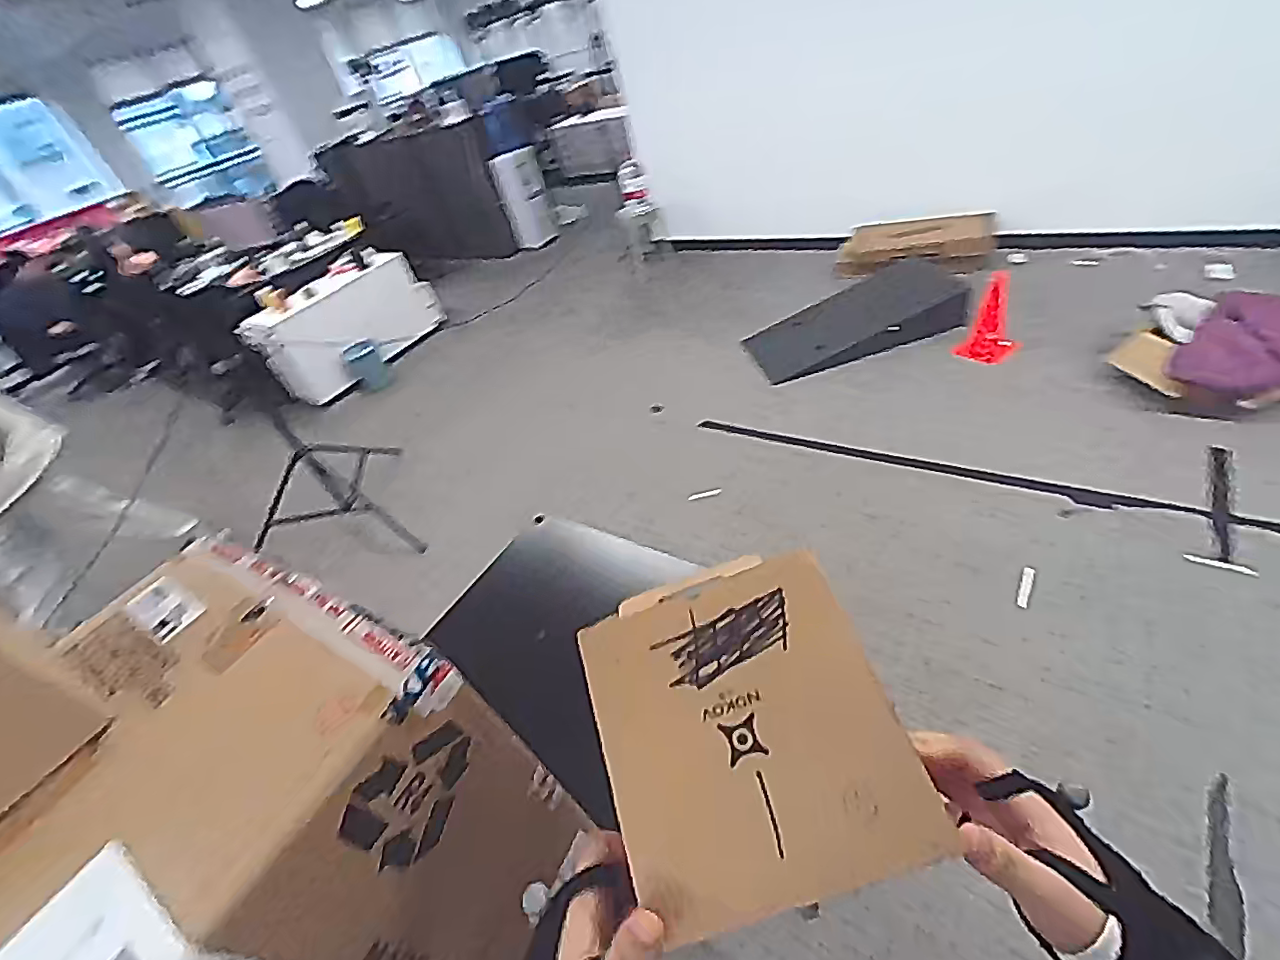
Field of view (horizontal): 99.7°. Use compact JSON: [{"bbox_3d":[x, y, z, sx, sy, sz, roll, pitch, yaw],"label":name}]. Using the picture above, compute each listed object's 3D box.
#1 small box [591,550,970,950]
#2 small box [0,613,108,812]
[{"bbox_3d":[0.084,0.181,0.378,0.168,0.176,0.179,-22,55,5],"label":"small box"},{"bbox_3d":[-0.518,0.161,0.343,0.168,0.176,0.179,10,47,31],"label":"small box"}]
